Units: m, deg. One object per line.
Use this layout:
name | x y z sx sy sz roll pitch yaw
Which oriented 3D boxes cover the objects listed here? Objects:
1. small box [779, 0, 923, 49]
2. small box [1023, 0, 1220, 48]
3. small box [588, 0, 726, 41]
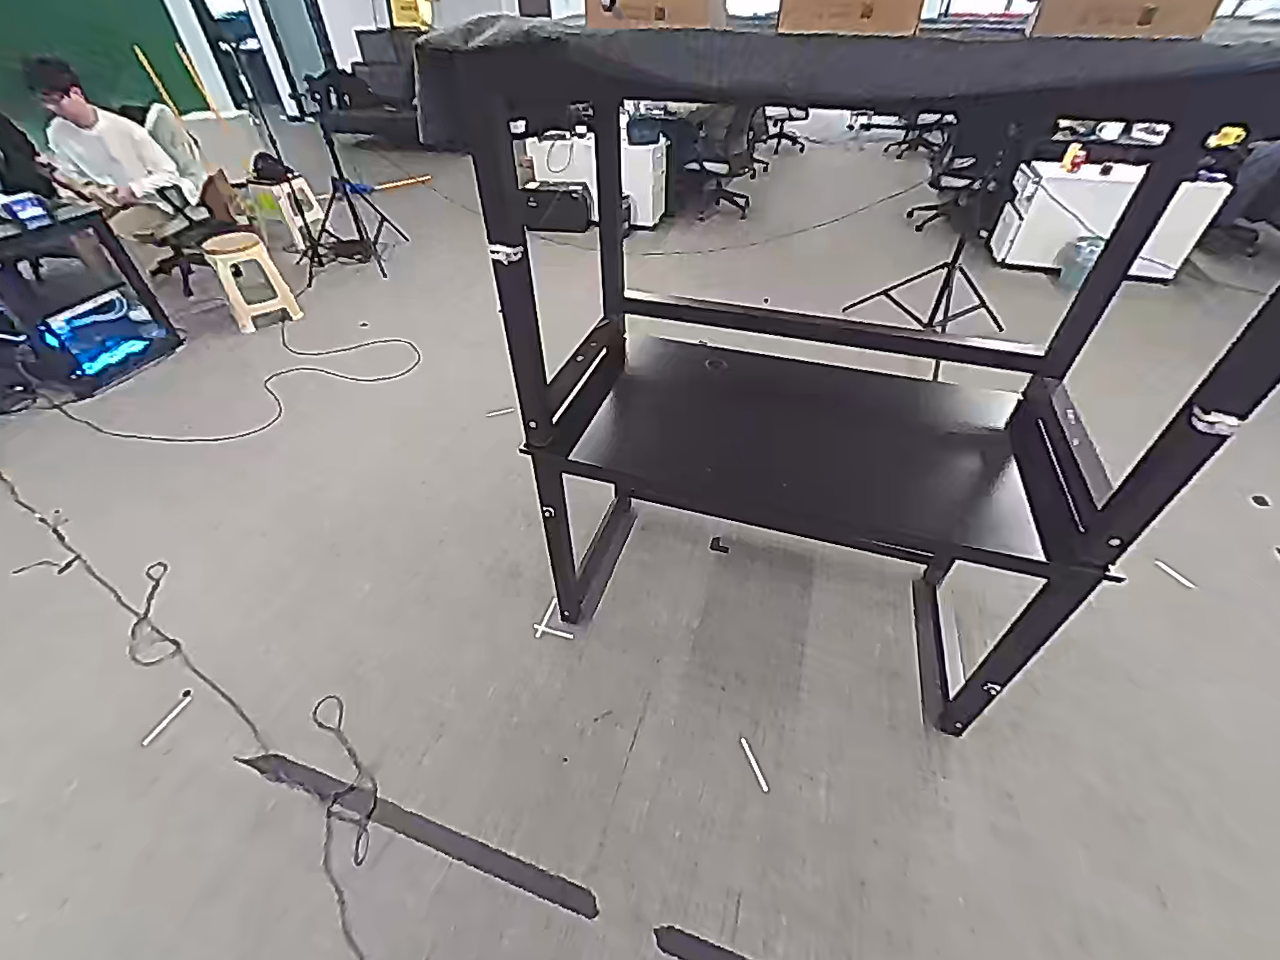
small box | 0.275 -0.653 0.674 0.168 0.176 0.179 12 42 13
small box | 0.561 -0.597 0.608 0.168 0.176 0.179 18 44 19
small box | 0.029 -0.700 0.725 0.168 0.176 0.179 11 41 11
